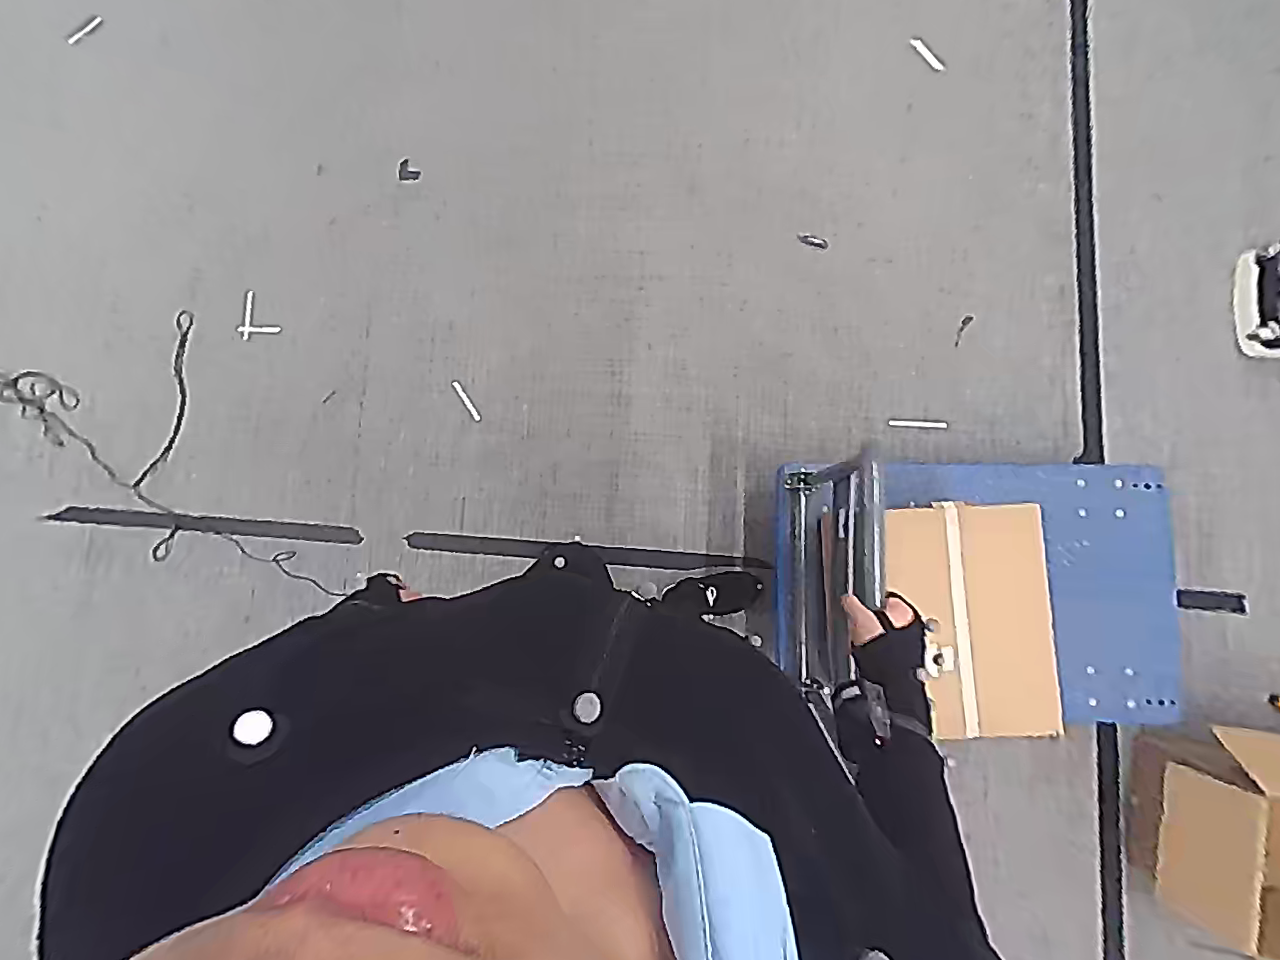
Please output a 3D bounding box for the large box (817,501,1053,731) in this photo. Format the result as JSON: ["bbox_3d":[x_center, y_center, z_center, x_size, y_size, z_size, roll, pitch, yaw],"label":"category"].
[{"bbox_3d":[0.576,0.255,1.125,0.320,0.320,0.408,-3,86,5],"label":"large box"}]
